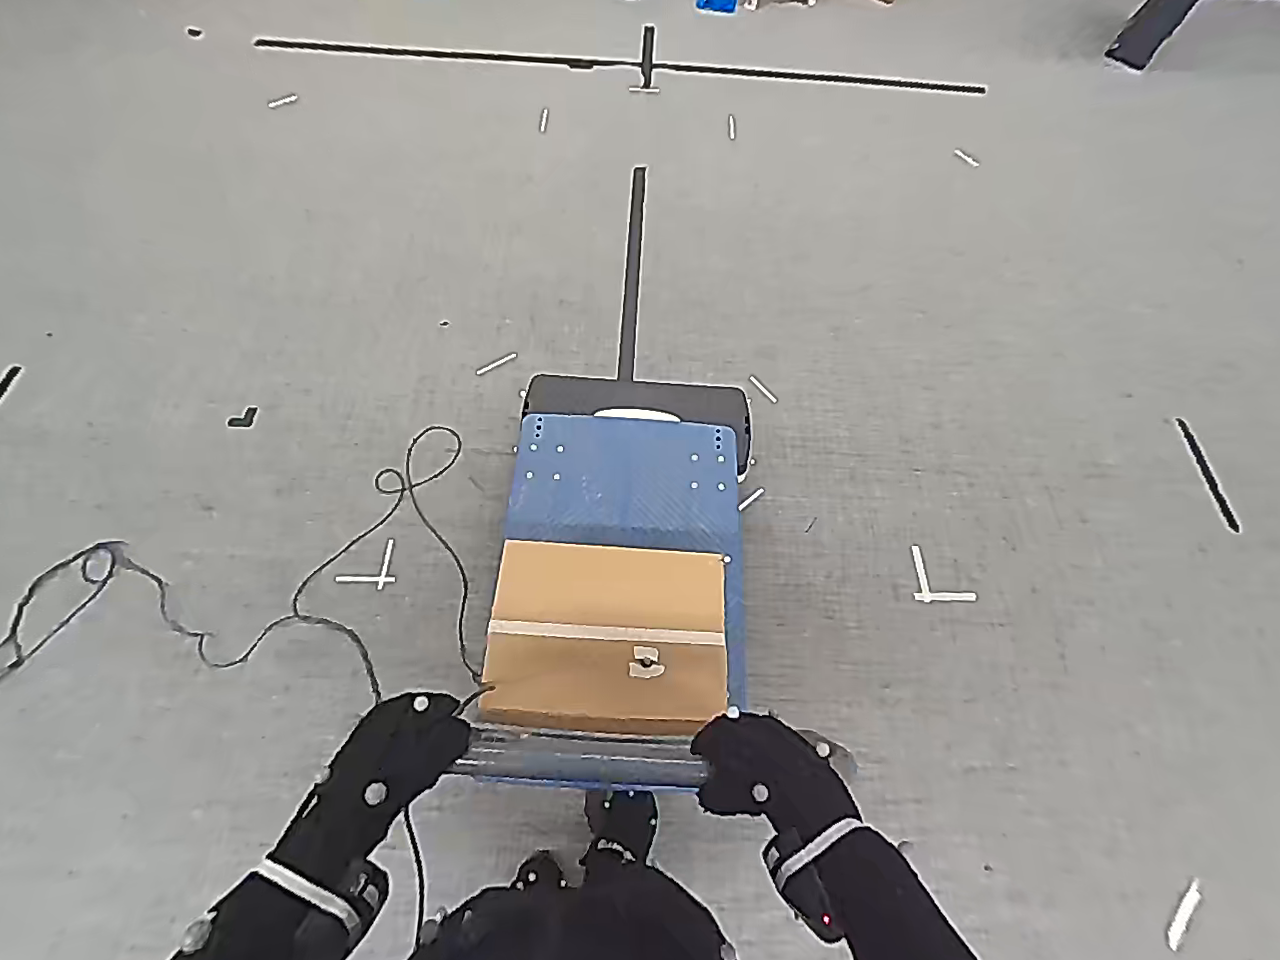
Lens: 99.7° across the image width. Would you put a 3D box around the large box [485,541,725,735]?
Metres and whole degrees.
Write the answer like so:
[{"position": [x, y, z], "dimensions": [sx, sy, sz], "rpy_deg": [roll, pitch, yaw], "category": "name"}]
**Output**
[{"position": [-0.063, 0.330, 1.082], "dimensions": [0.408, 0.320, 0.320], "rpy_deg": [4, 64, -2], "category": "large box"}]
